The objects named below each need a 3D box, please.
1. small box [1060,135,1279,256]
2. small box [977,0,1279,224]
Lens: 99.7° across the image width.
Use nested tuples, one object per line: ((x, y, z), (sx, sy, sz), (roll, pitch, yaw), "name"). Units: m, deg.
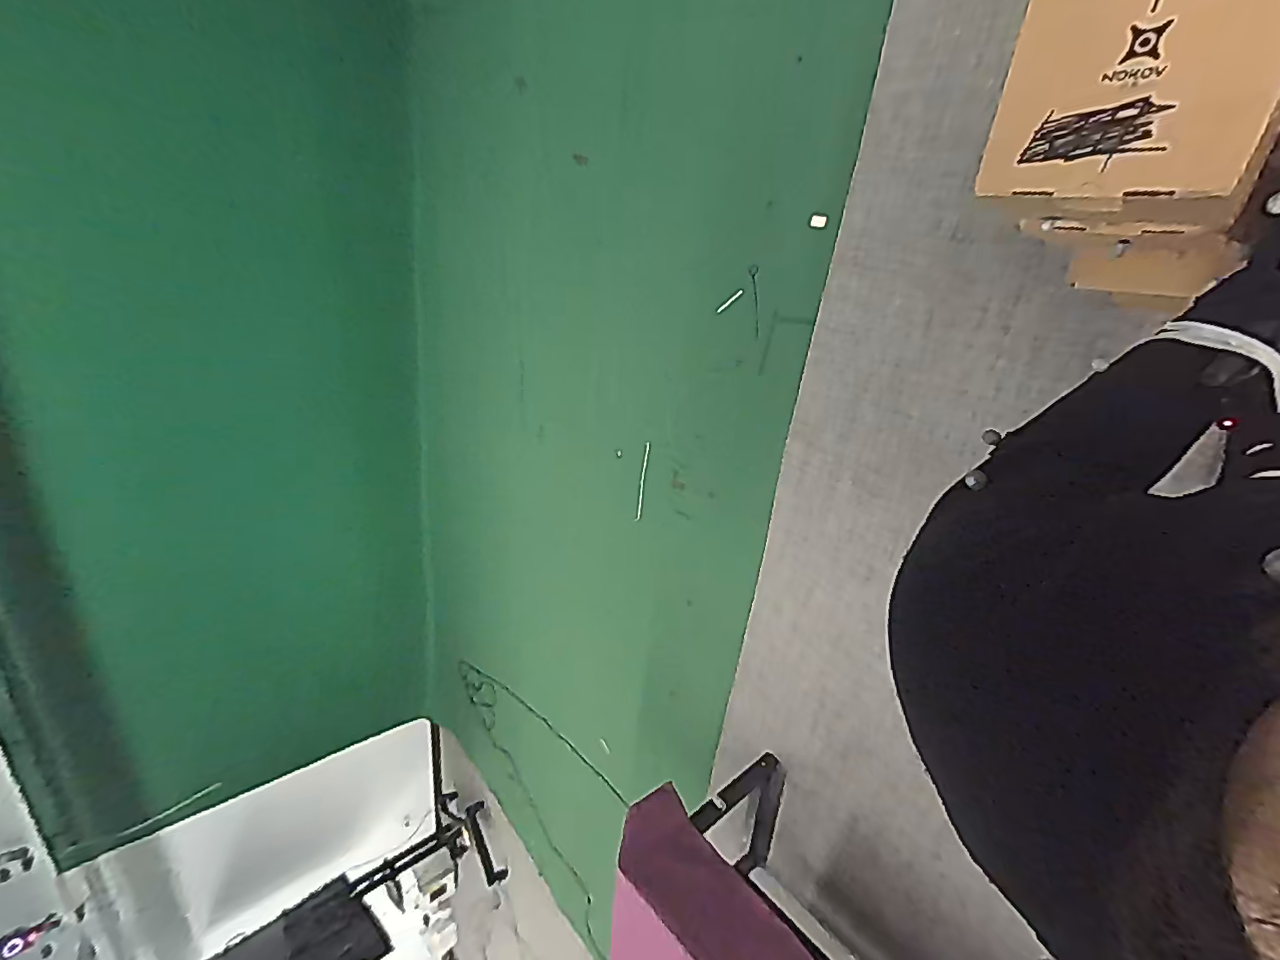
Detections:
((0.655, -0.375, 0.653), (0.168, 0.176, 0.179), (29, 121, 40), "small box")
((0.414, -0.313, 0.439), (0.168, 0.176, 0.179), (26, 118, 41), "small box")
